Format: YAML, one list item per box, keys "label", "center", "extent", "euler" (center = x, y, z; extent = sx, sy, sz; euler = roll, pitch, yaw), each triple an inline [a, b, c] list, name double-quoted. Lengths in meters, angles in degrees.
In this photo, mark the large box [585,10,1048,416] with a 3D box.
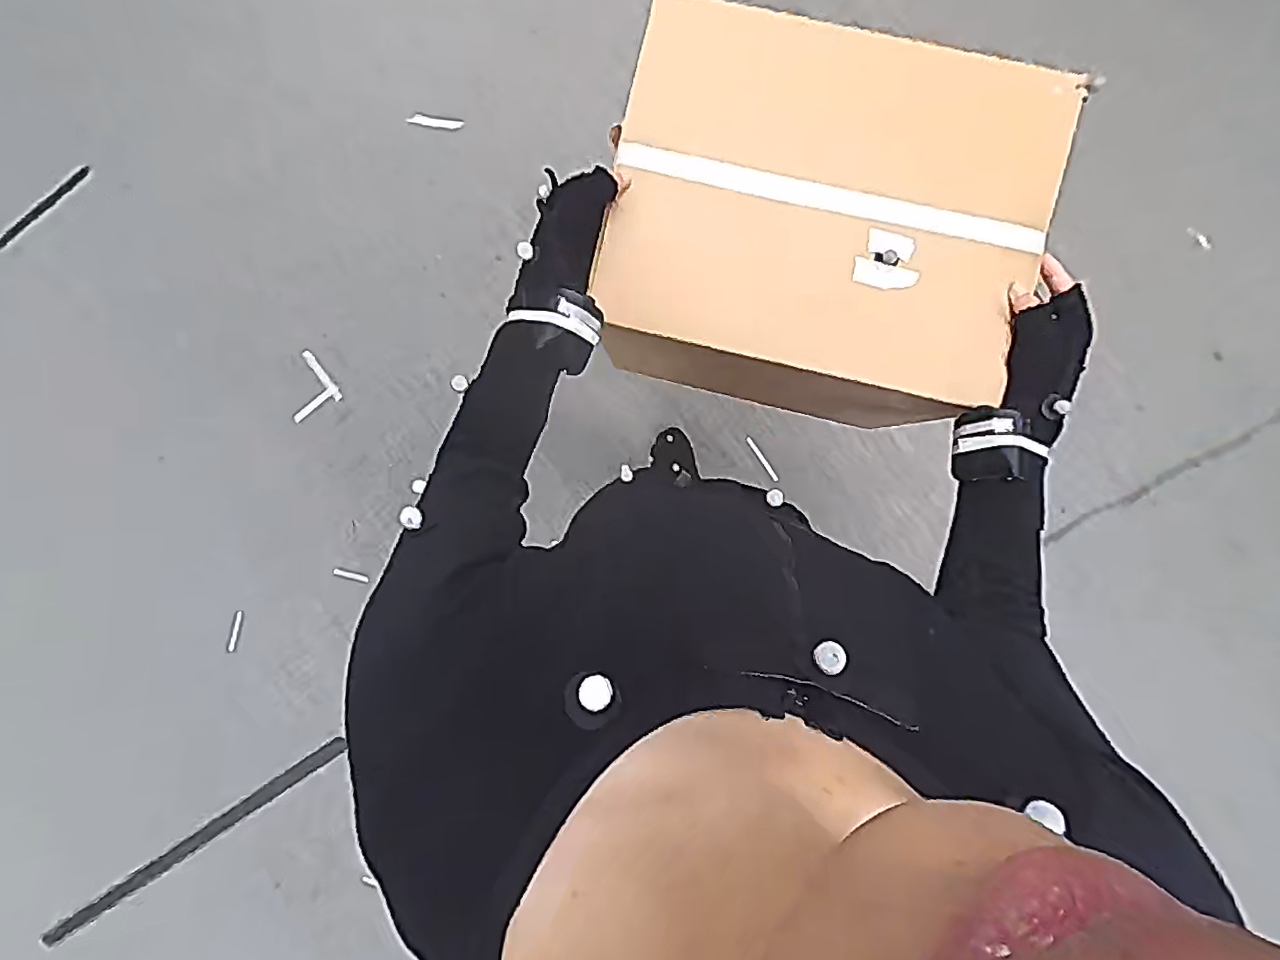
- label: "large box"
  center: [0.170, -0.277, 0.673]
  extent: [0.408, 0.320, 0.320]
  euler: [12, 94, 2]
